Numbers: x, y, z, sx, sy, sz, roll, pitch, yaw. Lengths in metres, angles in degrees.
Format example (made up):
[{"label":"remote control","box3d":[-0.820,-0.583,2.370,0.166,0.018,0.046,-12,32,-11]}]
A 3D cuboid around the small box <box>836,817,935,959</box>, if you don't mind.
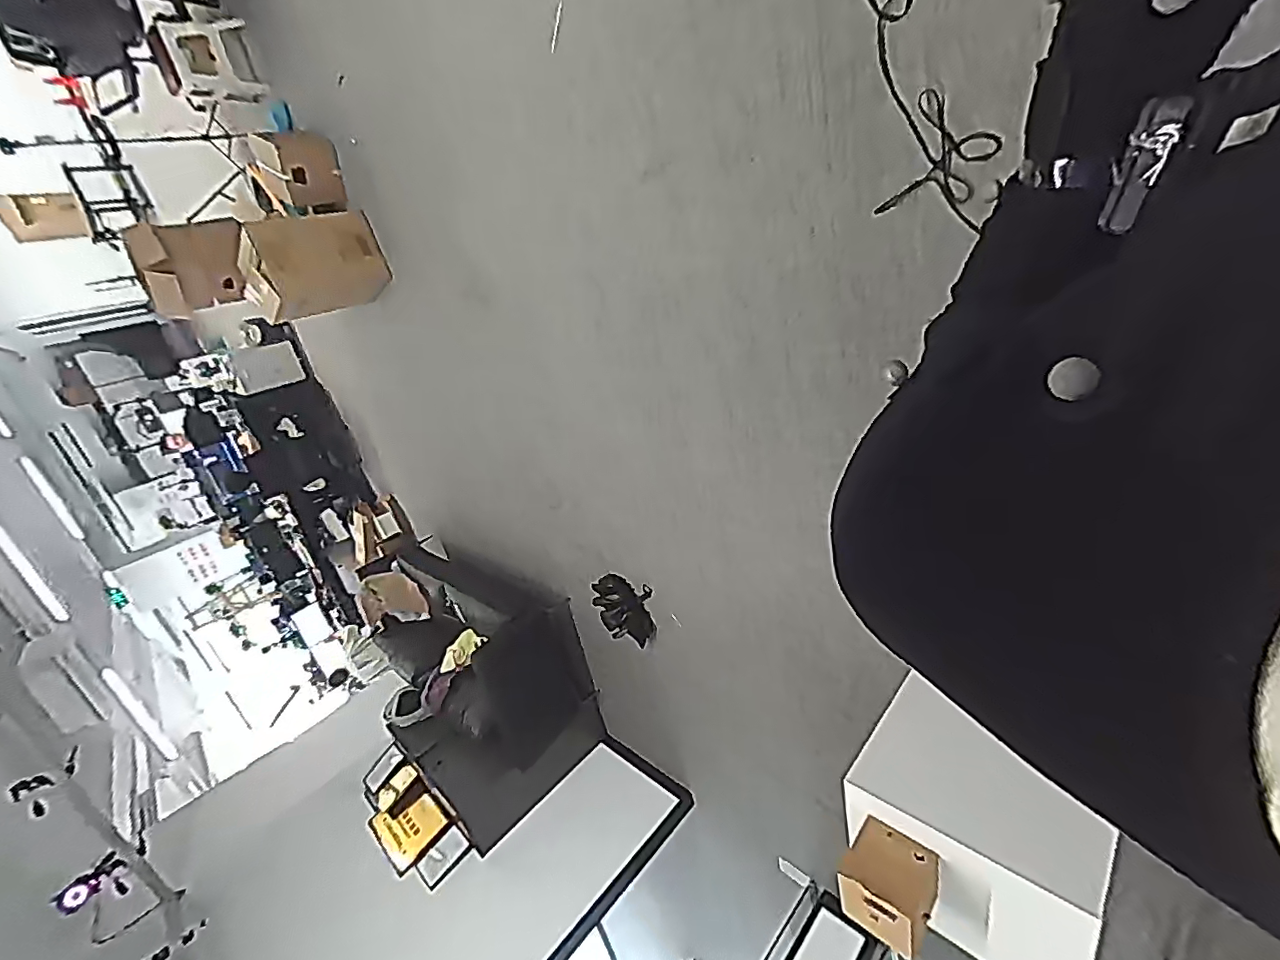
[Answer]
[{"label":"small box","box3d":[0.580,0.949,1.275,0.168,0.176,0.179,12,124,44]}]
